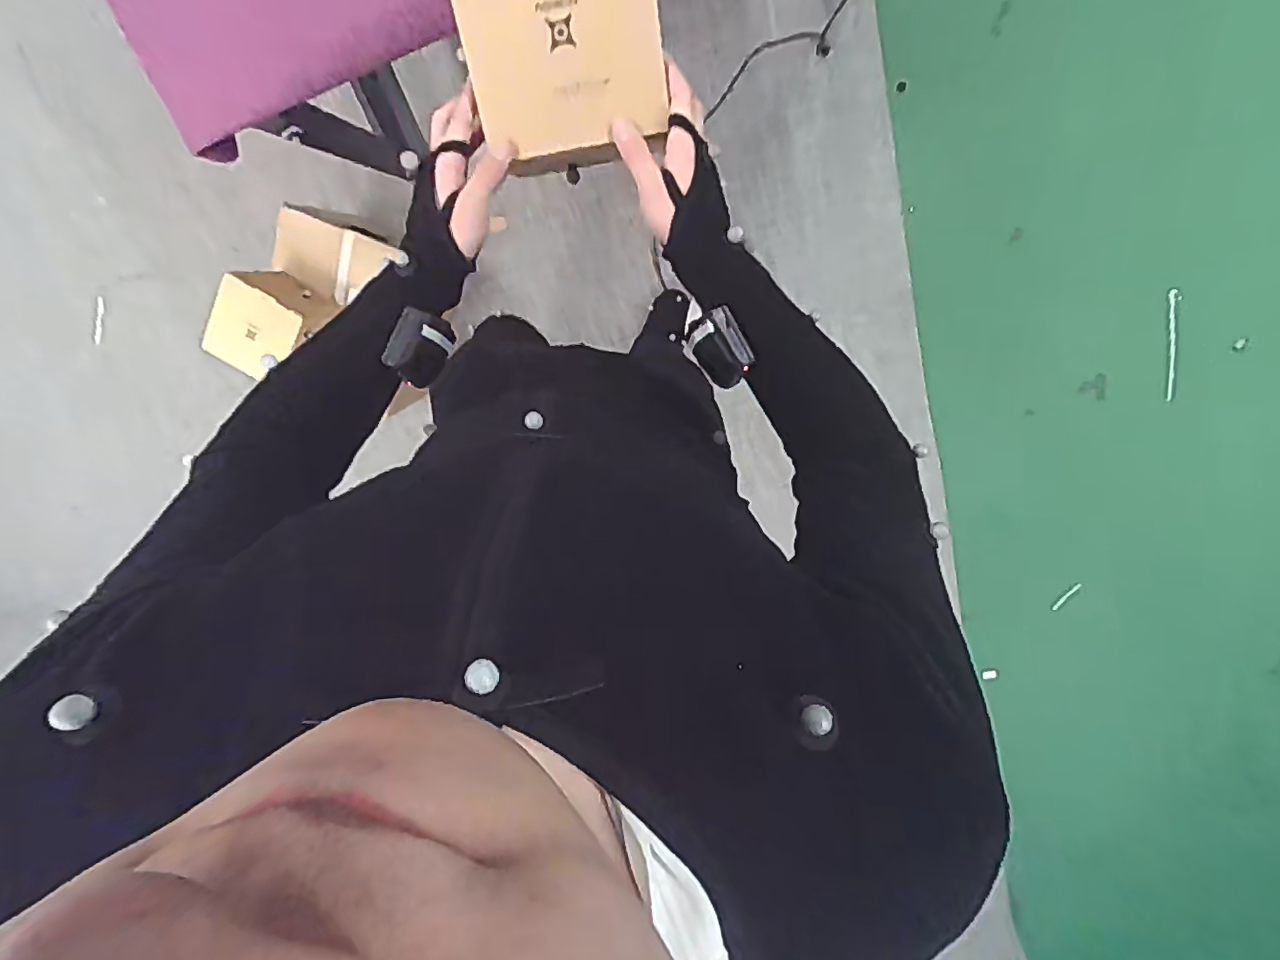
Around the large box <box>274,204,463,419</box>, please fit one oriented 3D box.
[{"bbox_3d":[-0.689,-0.421,1.378,0.320,0.320,0.408,20,110,-7],"label":"large box"}]

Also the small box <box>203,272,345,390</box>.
[{"bbox_3d":[-0.773,-0.321,1.158,0.168,0.176,0.179,32,109,-8],"label":"small box"}]

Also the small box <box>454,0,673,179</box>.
[{"bbox_3d":[-0.067,-0.400,0.508,0.168,0.176,0.179,-9,115,2],"label":"small box"}]
